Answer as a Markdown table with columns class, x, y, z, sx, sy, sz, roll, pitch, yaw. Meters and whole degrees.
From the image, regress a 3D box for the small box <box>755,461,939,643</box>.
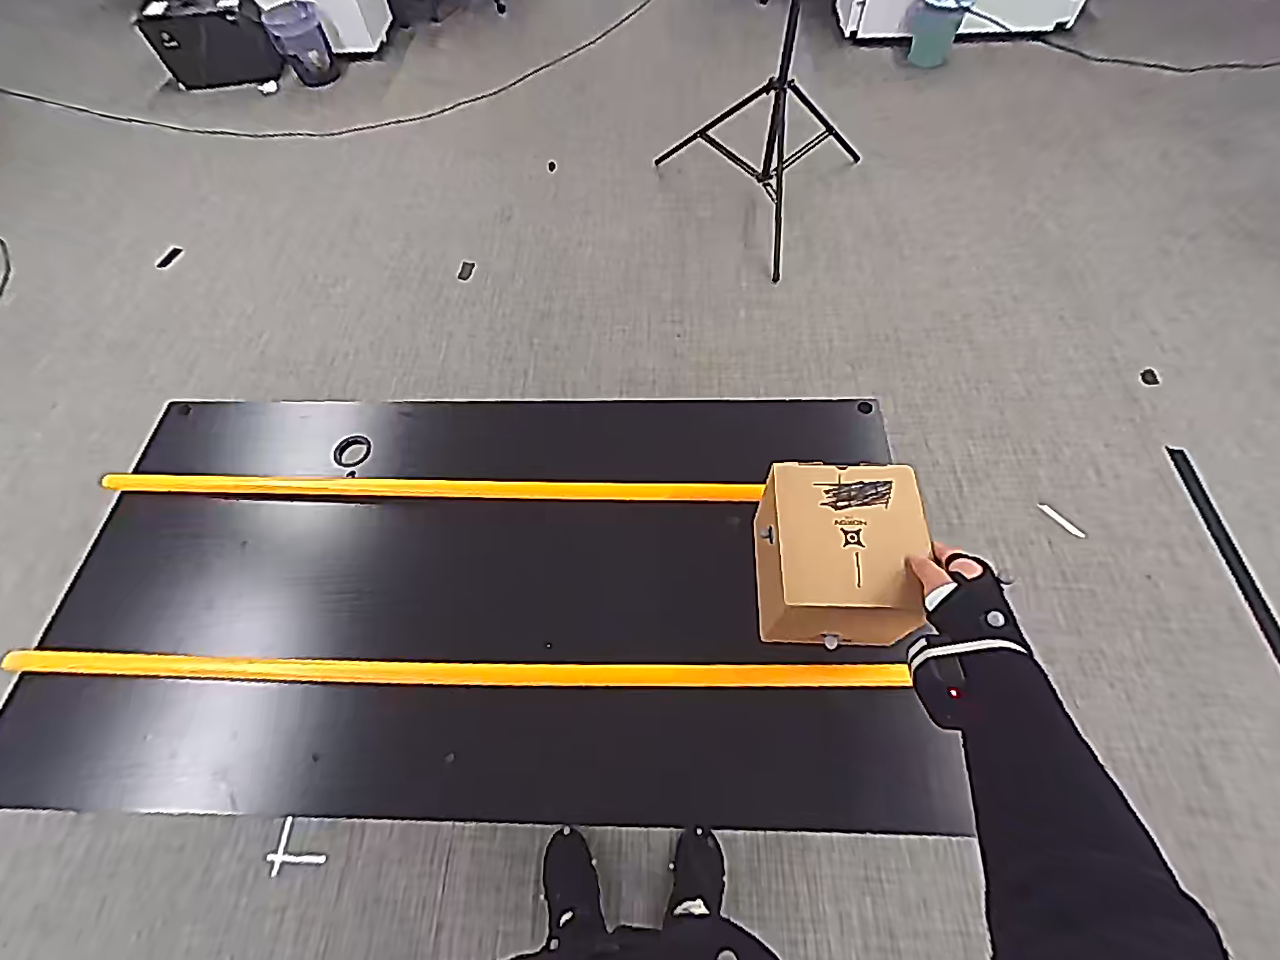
| class | x | y | z | sx | sy | sz | roll | pitch | yaw |
| --- | --- | --- | --- | --- | --- | --- | --- | --- | --- |
| small box | 0.240 | 0.094 | 0.680 | 0.168 | 0.176 | 0.179 | 1 | 61 | 4 |
